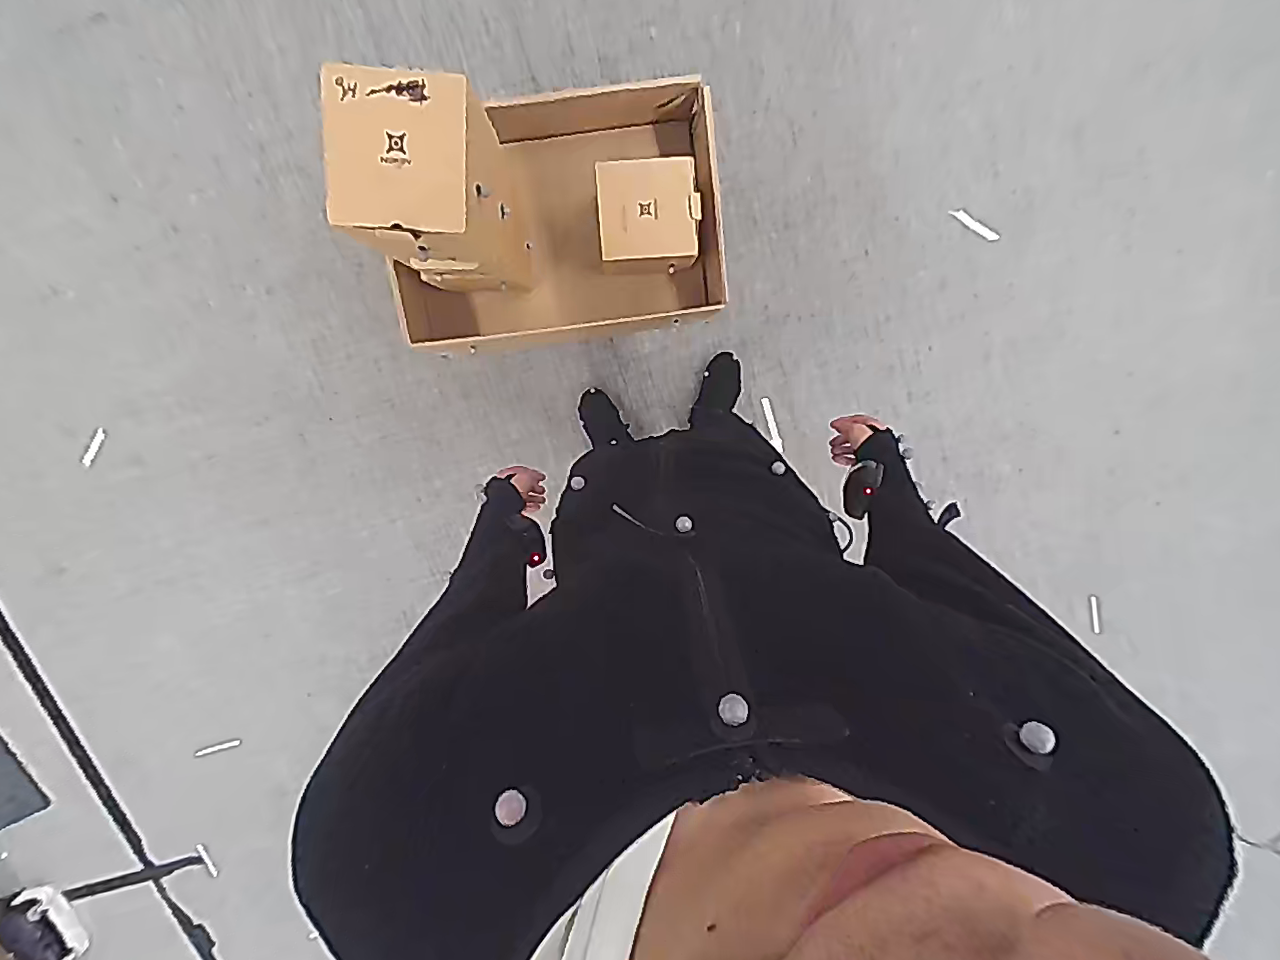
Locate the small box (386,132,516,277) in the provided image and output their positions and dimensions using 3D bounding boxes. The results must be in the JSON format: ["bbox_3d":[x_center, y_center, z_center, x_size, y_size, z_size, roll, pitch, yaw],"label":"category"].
[{"bbox_3d":[-0.298,-0.431,0.869,0.168,0.176,0.179,0,100,-2],"label":"small box"}]

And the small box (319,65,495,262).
[{"bbox_3d":[-0.290,-0.394,0.708,0.168,0.176,0.179,3,101,-3],"label":"small box"}]
